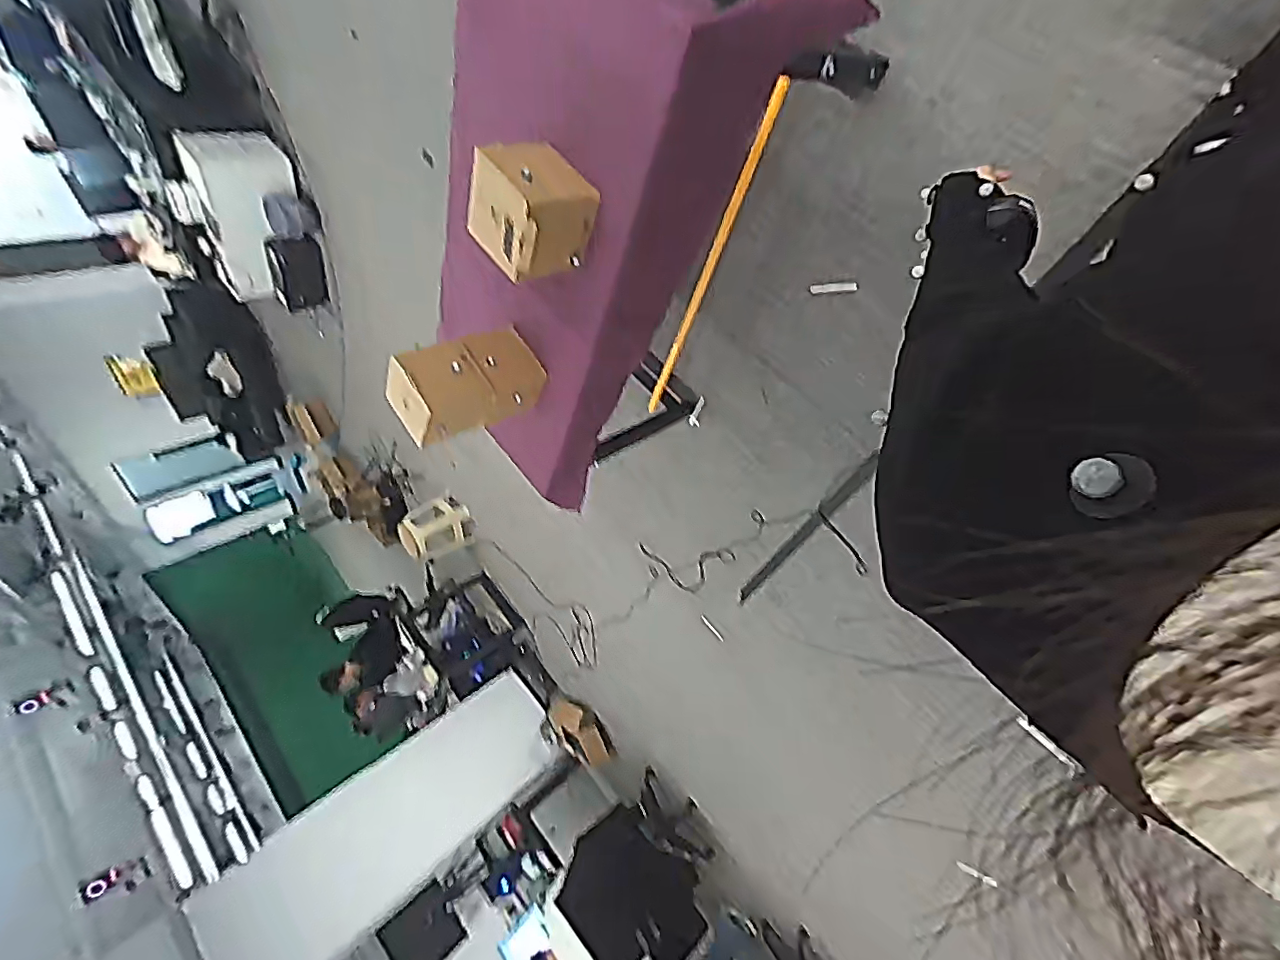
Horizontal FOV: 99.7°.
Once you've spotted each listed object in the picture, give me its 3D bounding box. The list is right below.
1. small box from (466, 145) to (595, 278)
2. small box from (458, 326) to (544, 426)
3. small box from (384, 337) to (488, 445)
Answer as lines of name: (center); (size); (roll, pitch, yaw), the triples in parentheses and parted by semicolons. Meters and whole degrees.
small box: (-0.214, -0.528, 1.053); (0.179, 0.176, 0.168); (50, 142, 16)
small box: (-0.378, -0.276, 1.408); (0.179, 0.176, 0.168); (54, 142, 9)
small box: (-0.490, -0.216, 1.305); (0.168, 0.176, 0.179); (54, 141, 7)
